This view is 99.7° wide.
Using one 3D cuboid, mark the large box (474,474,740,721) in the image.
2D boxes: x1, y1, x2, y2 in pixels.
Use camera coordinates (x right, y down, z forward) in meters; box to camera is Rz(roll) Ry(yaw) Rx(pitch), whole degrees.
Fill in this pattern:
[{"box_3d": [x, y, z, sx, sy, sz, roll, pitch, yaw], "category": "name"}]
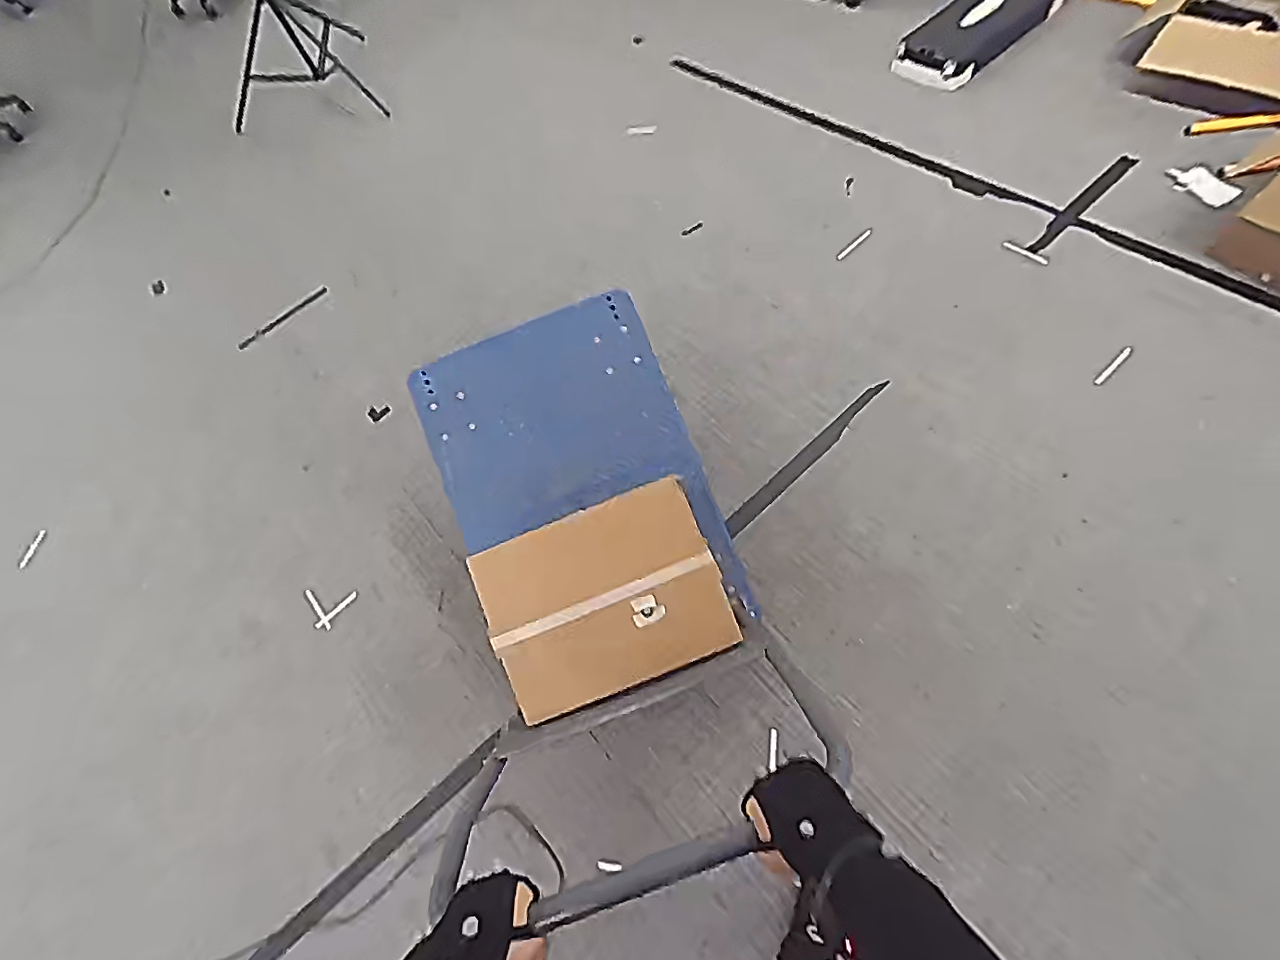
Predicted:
[{"box_3d": [-0.059, 0.222, 1.109, 0.408, 0.320, 0.320, -23, 85, -1], "category": "large box"}]
